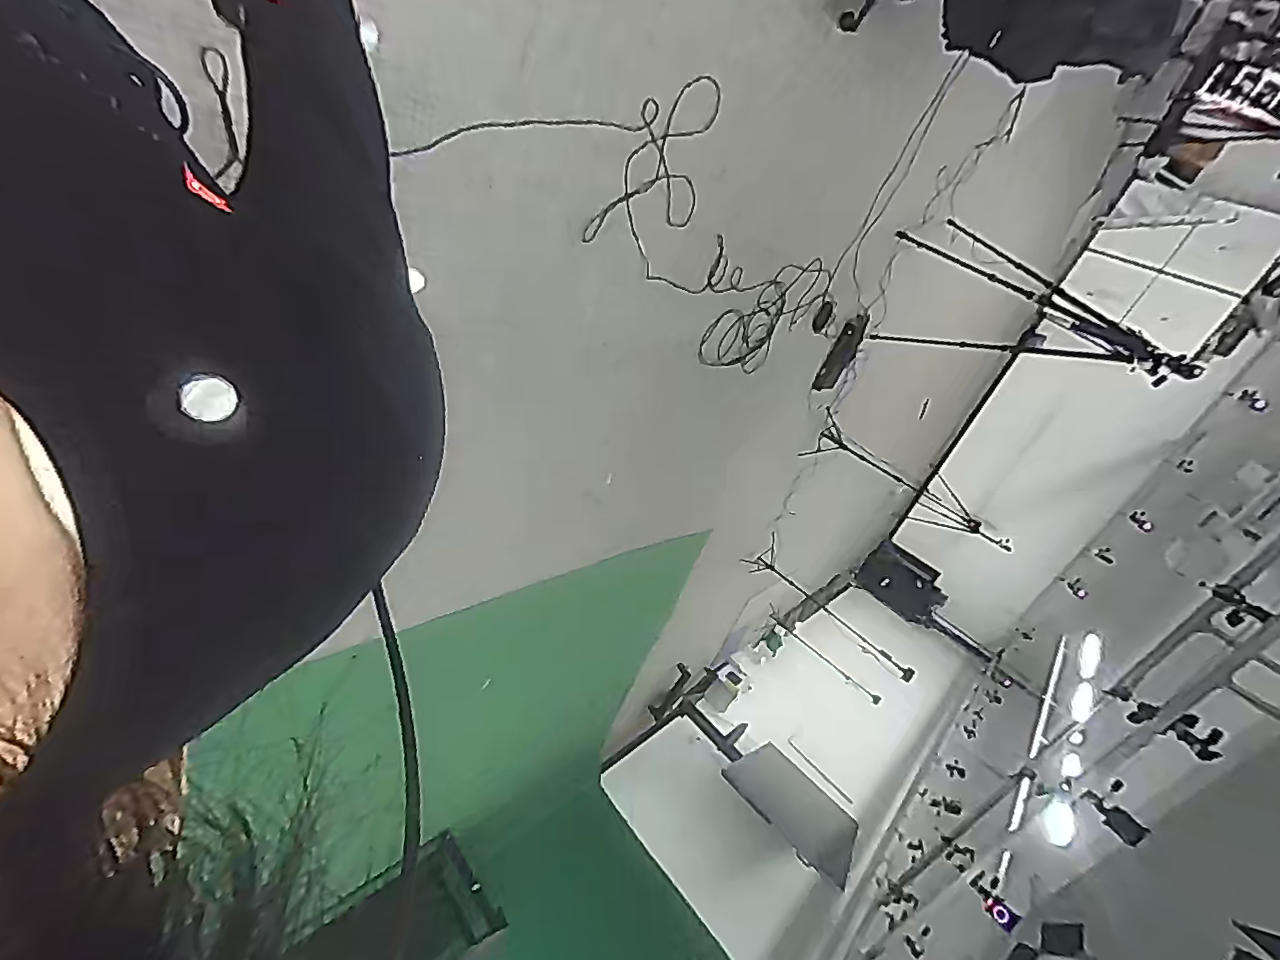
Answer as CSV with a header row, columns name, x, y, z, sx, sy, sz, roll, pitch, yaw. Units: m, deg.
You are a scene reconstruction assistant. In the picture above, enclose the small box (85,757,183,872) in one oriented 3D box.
name,x,y,z,sx,sy,sz,roll,pitch,yaw
small box,-1.379,0.902,1.477,0.179,0.176,0.168,-8,128,-48
